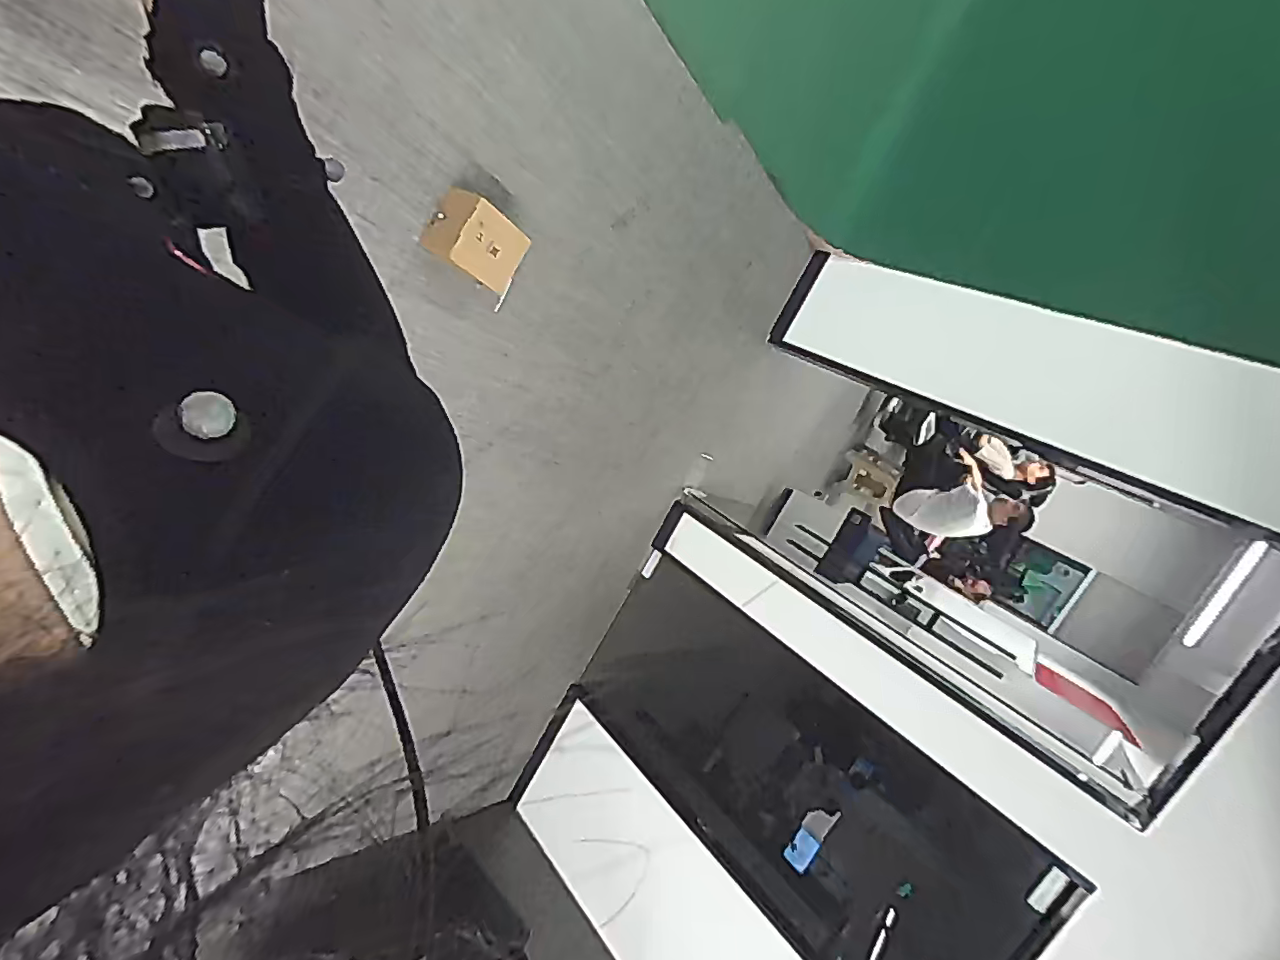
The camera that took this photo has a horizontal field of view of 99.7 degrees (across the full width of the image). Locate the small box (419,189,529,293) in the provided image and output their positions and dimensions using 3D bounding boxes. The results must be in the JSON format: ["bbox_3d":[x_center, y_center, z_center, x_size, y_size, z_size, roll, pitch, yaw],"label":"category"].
[{"bbox_3d":[-0.430,-0.619,1.396,0.168,0.176,0.179,-58,145,4],"label":"small box"}]
